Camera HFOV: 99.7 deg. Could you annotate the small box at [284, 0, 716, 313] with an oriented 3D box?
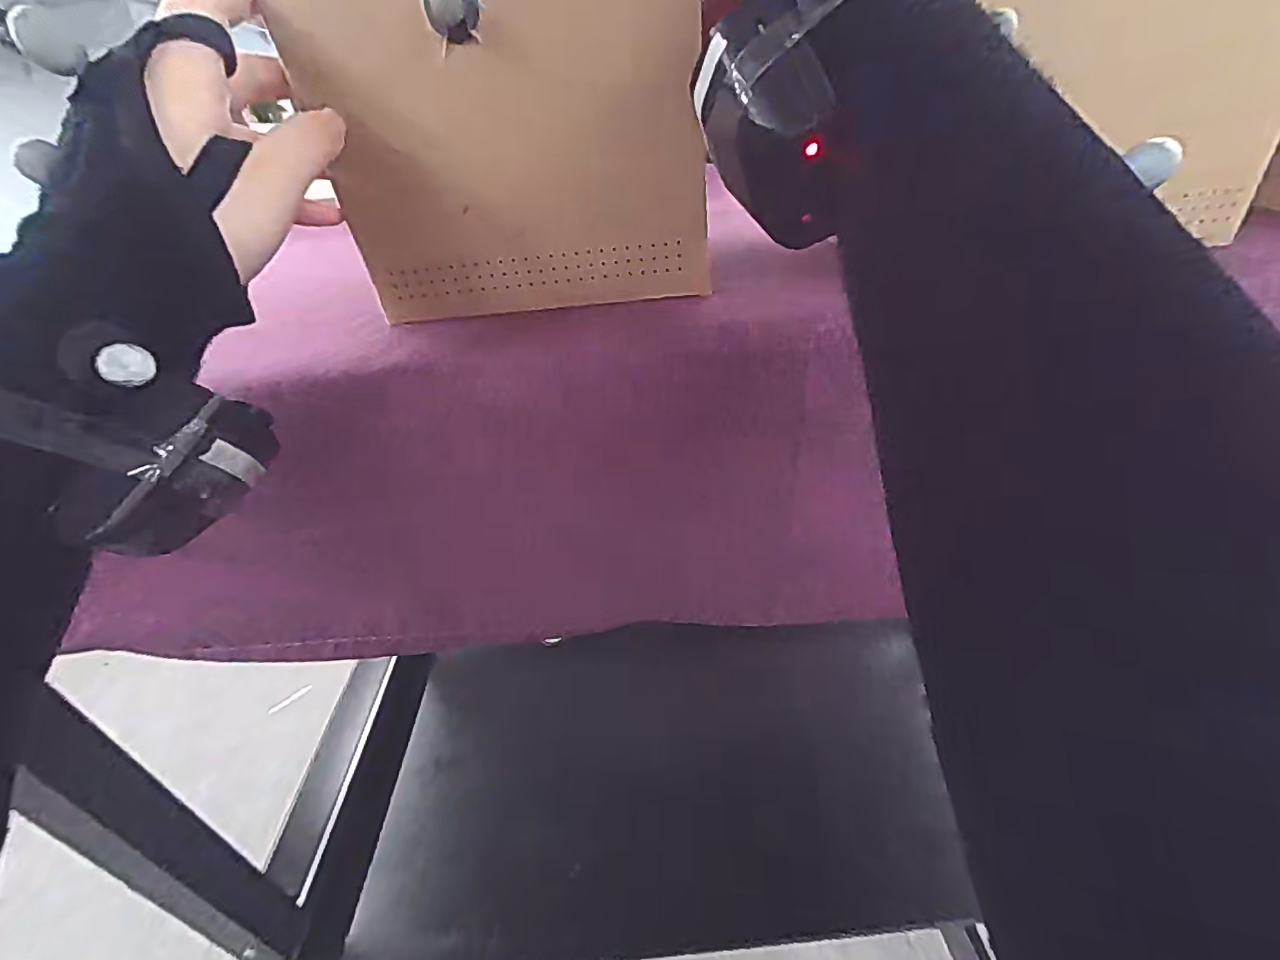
[{"bbox_3d":[-0.054,-0.201,0.294,0.179,0.176,0.168,-4,38,4],"label":"small box"}]
